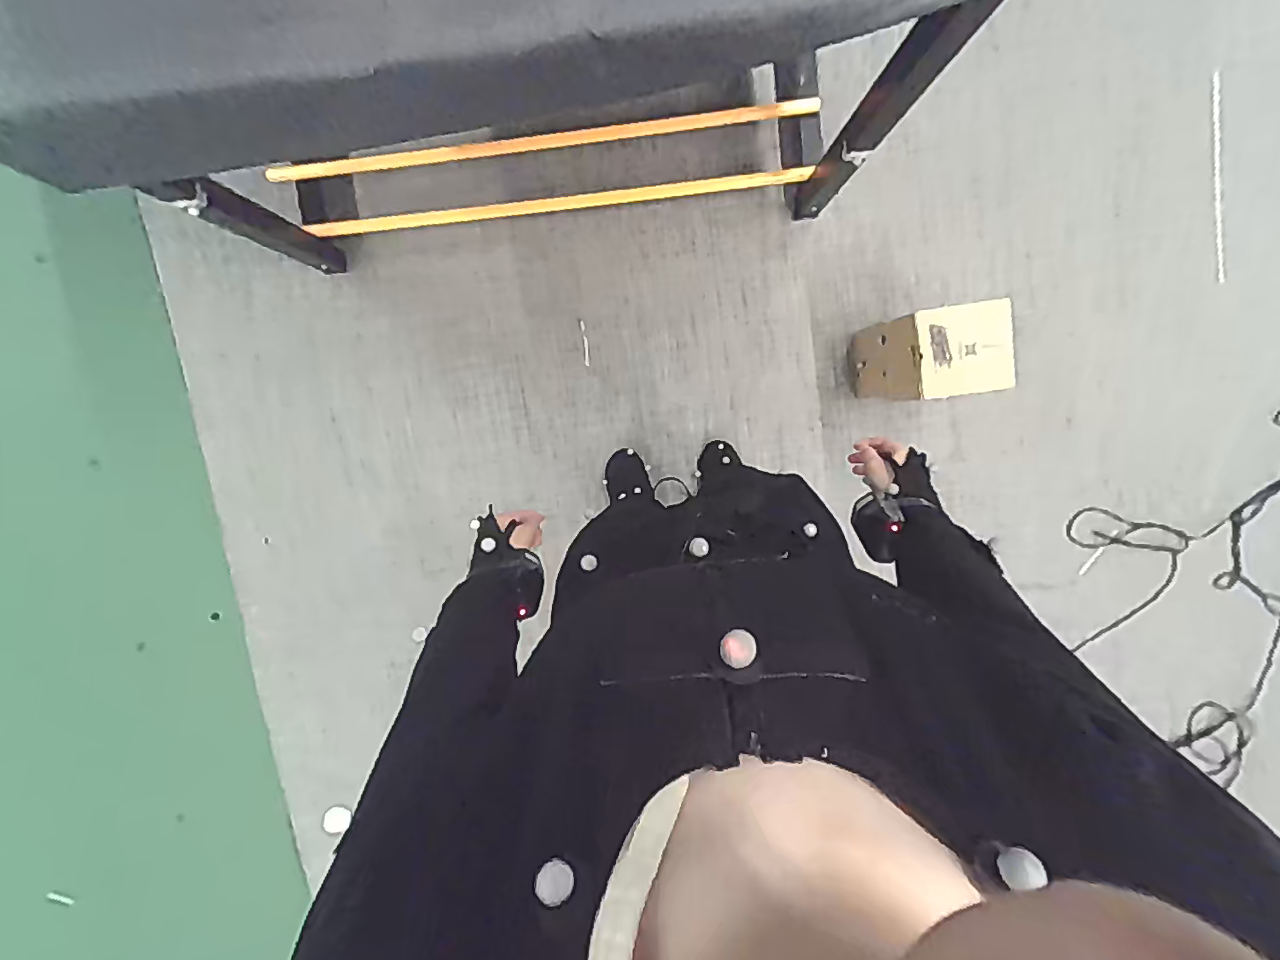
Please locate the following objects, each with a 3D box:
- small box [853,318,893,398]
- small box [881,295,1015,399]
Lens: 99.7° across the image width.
[{"bbox_3d":[0.608,-0.279,1.231,0.179,0.176,0.168,-6,96,0],"label":"small box"},{"bbox_3d":[0.596,-0.254,1.069,0.179,0.176,0.168,-9,97,1],"label":"small box"}]
